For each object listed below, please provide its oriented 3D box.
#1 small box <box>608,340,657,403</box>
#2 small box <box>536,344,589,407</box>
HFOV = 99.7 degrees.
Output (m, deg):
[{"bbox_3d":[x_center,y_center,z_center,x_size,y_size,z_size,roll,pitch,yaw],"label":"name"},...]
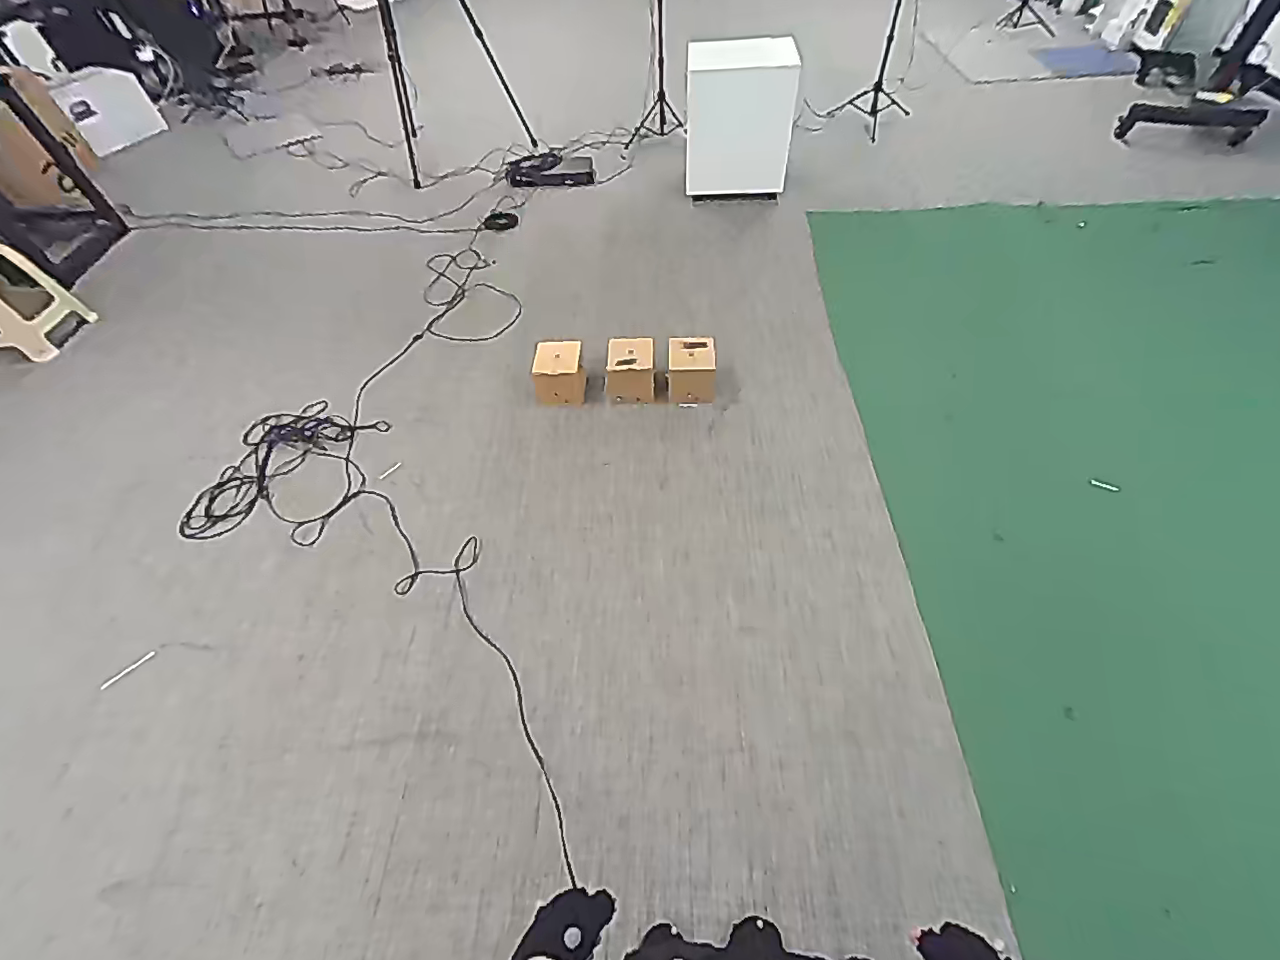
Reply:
[{"bbox_3d":[-0.023,-0.406,2.044,0.168,0.176,0.179,-1,52,4],"label":"small box"},{"bbox_3d":[-0.289,-0.397,2.060,0.168,0.176,0.179,-1,53,4],"label":"small box"}]
